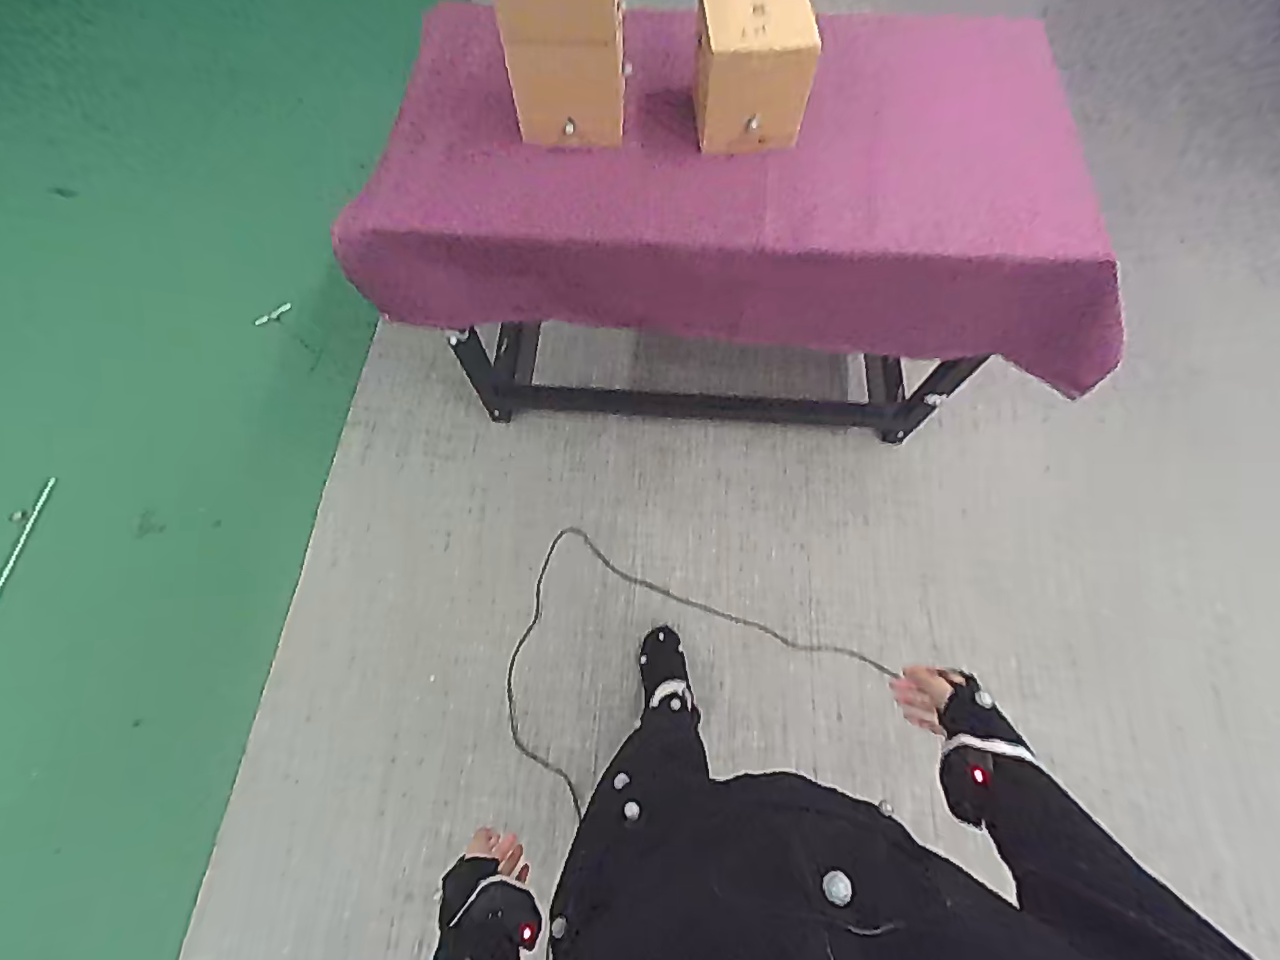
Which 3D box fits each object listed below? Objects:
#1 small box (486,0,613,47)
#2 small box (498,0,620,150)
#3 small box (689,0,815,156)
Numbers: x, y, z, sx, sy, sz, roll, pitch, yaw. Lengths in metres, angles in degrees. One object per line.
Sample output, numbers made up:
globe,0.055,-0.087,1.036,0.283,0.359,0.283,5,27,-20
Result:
small box,-0.126,-0.746,0.757,0.179,0.176,0.168,1,69,2
small box,-0.125,-0.687,0.910,0.179,0.176,0.168,1,69,1
small box,0.175,-0.679,0.904,0.168,0.176,0.179,-4,70,0
